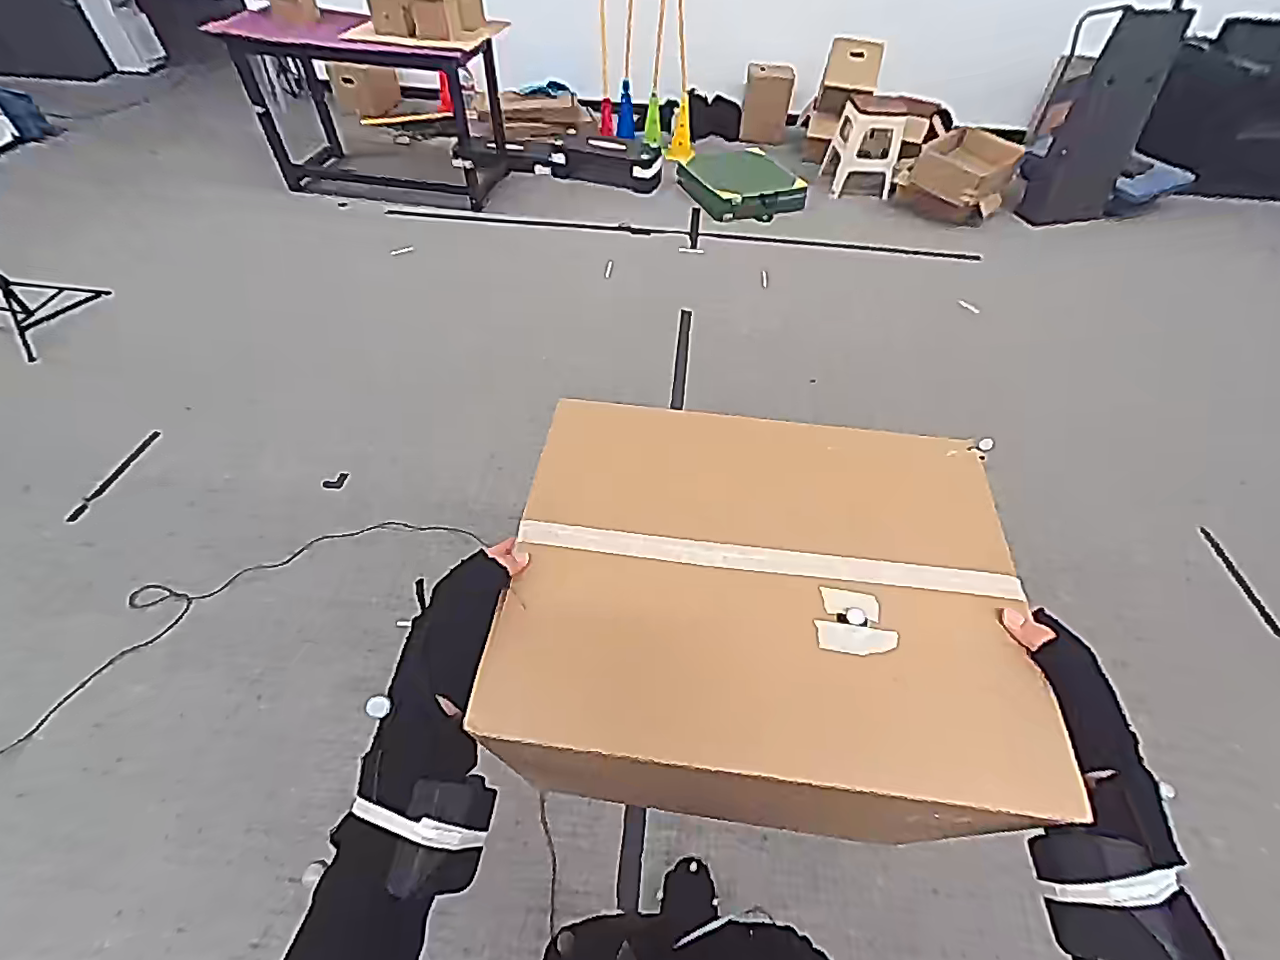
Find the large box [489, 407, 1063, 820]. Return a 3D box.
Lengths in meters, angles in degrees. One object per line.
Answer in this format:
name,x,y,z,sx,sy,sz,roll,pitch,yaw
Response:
large box,0.100,0.151,0.576,0.408,0.320,0.320,6,56,3
